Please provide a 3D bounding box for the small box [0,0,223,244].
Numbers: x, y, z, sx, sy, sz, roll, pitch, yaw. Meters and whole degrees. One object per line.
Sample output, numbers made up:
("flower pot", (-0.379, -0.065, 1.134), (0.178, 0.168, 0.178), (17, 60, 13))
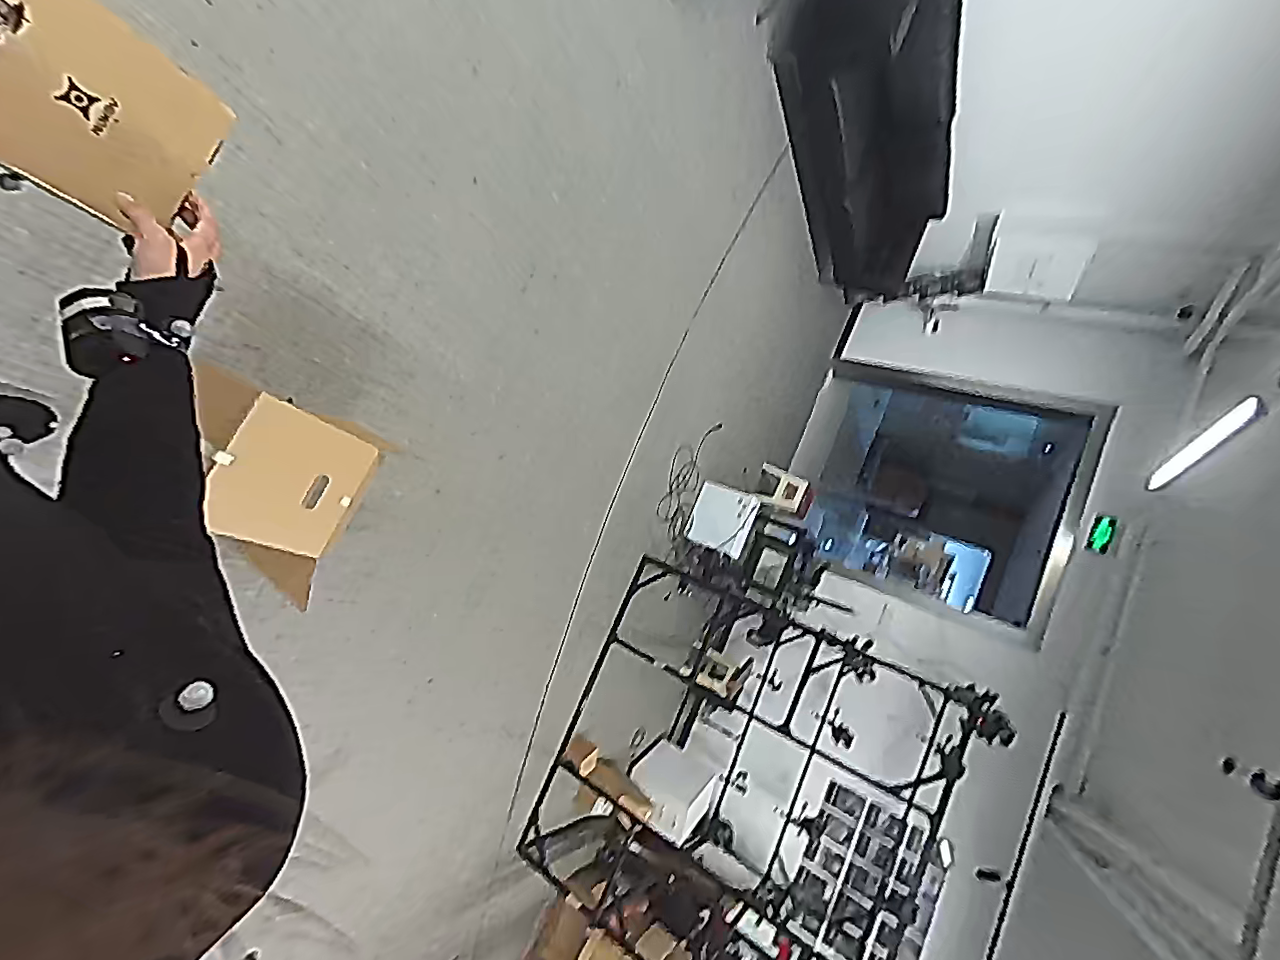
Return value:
("small box", (-0.572, -0.368, 0.527), (0.168, 0.176, 0.179), (-62, 150, -3))
